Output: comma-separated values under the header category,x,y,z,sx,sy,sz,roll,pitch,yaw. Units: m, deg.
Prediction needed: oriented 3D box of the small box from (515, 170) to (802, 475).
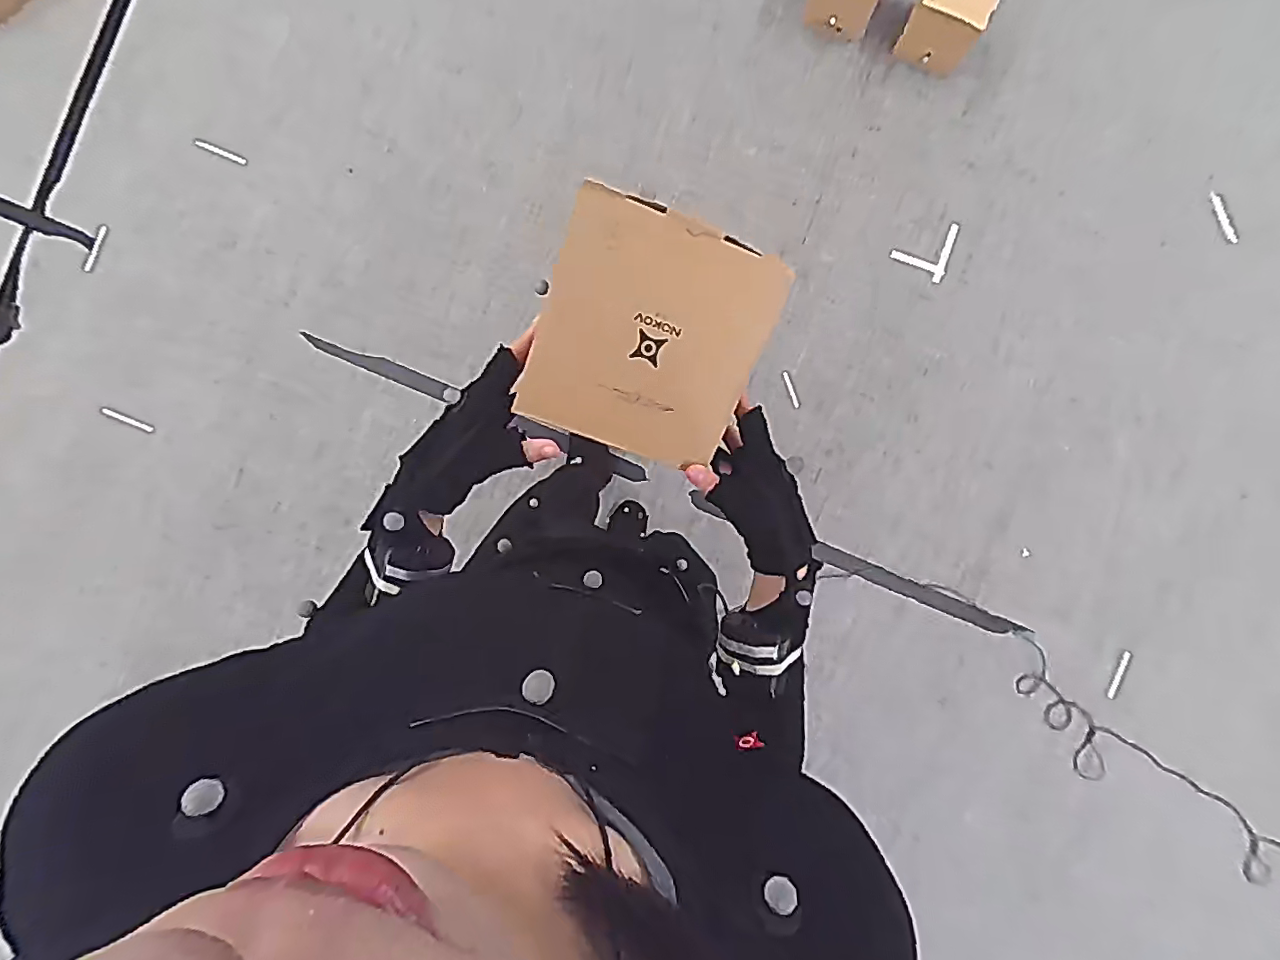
category,x,y,z,sx,sy,sz,roll,pitch,yaw
small box,0.006,-0.135,0.472,0.168,0.176,0.179,20,111,-11

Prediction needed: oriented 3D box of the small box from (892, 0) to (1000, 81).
category,x,y,z,sx,sy,sz,roll,pitch,yaw
small box,0.825,-1.232,1.457,0.179,0.176,0.168,25,90,-1

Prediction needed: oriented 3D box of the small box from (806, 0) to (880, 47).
category,x,y,z,sx,sy,sz,roll,pitch,yaw
small box,0.568,-1.335,1.457,0.168,0.176,0.179,21,90,1
